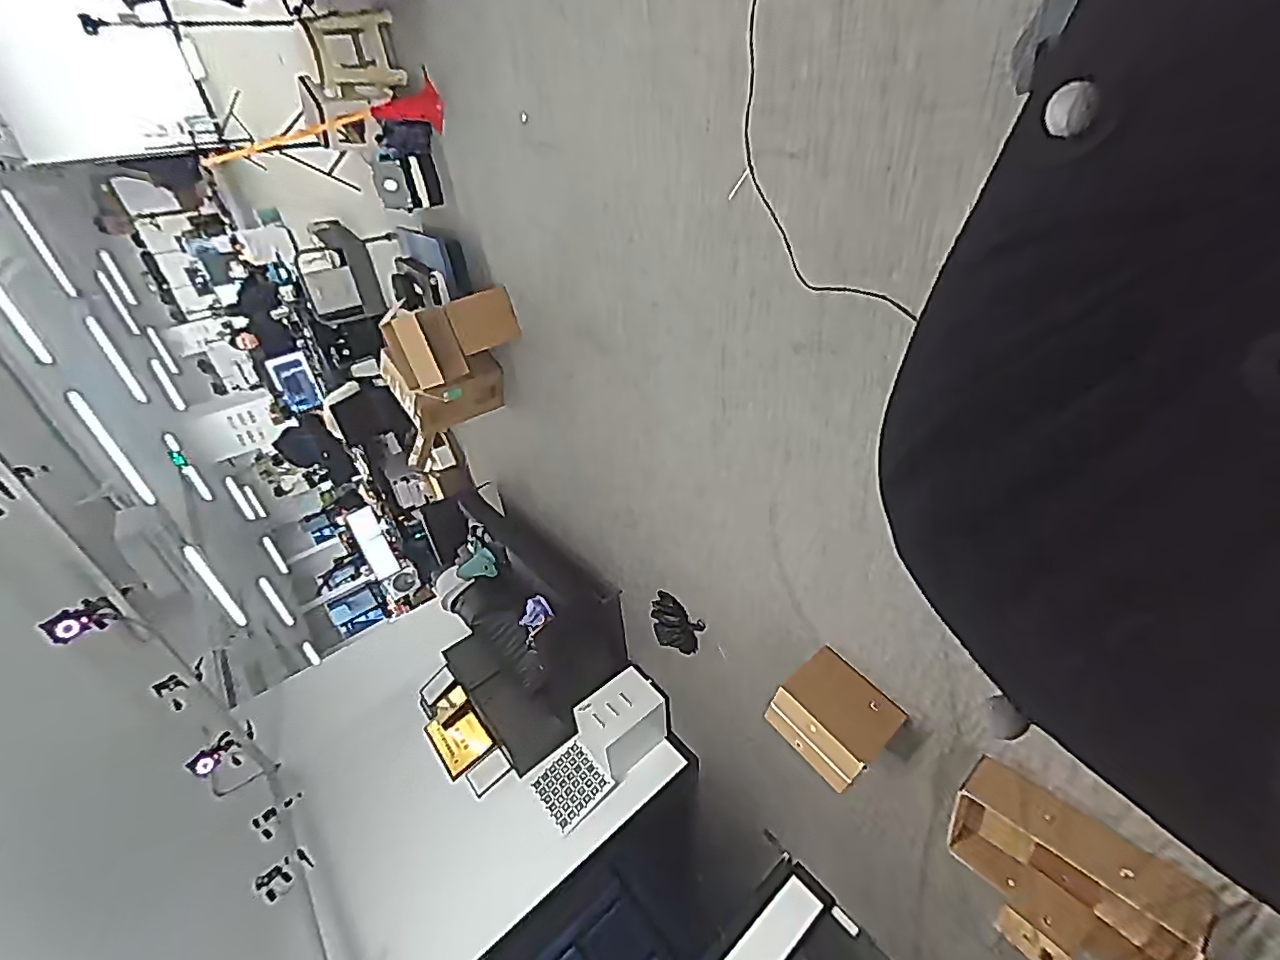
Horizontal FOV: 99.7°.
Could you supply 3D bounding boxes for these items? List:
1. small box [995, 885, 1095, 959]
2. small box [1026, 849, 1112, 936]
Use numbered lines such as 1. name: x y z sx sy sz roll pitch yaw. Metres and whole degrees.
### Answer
1. small box: 1.210 1.377 1.616 0.179 0.176 0.168 30 137 45
2. small box: 1.340 1.323 1.703 0.179 0.176 0.168 27 134 47
